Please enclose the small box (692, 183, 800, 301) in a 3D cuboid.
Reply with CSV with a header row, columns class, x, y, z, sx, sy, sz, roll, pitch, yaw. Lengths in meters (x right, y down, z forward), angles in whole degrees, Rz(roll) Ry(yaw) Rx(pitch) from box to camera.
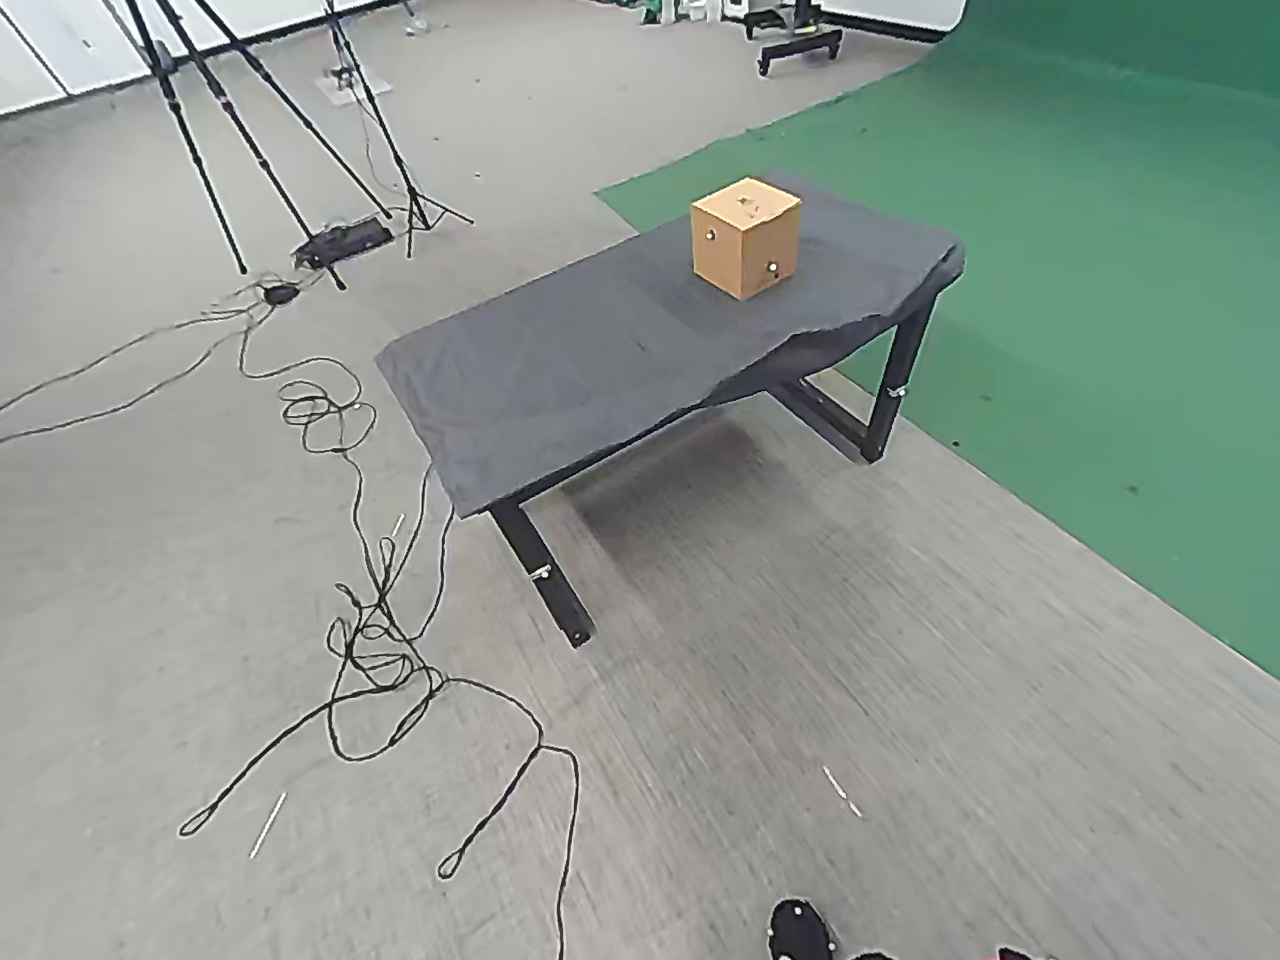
class,x,y,z,sx,sy,sz,roll,pitch,yaw
small box,0.234,-0.537,1.226,0.168,0.176,0.179,-32,54,-15
